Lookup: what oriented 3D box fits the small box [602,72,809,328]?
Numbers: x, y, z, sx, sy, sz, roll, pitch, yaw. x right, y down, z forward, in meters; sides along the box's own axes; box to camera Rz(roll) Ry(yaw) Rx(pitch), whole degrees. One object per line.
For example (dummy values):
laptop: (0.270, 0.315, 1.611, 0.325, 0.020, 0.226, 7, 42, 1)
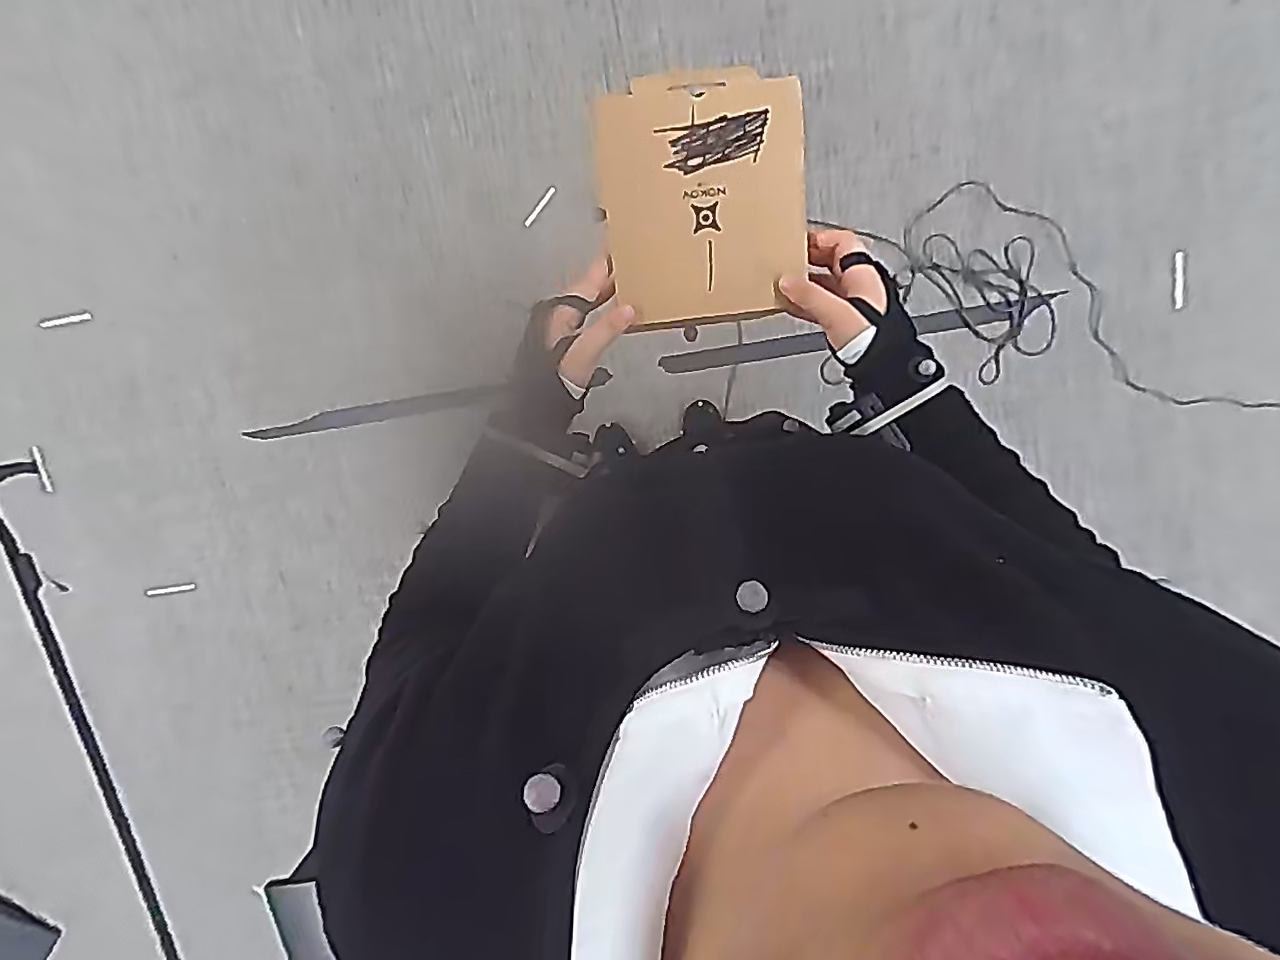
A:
small box: (0.053, -0.249, 0.524, 0.168, 0.176, 0.179, -7, 103, -1)
